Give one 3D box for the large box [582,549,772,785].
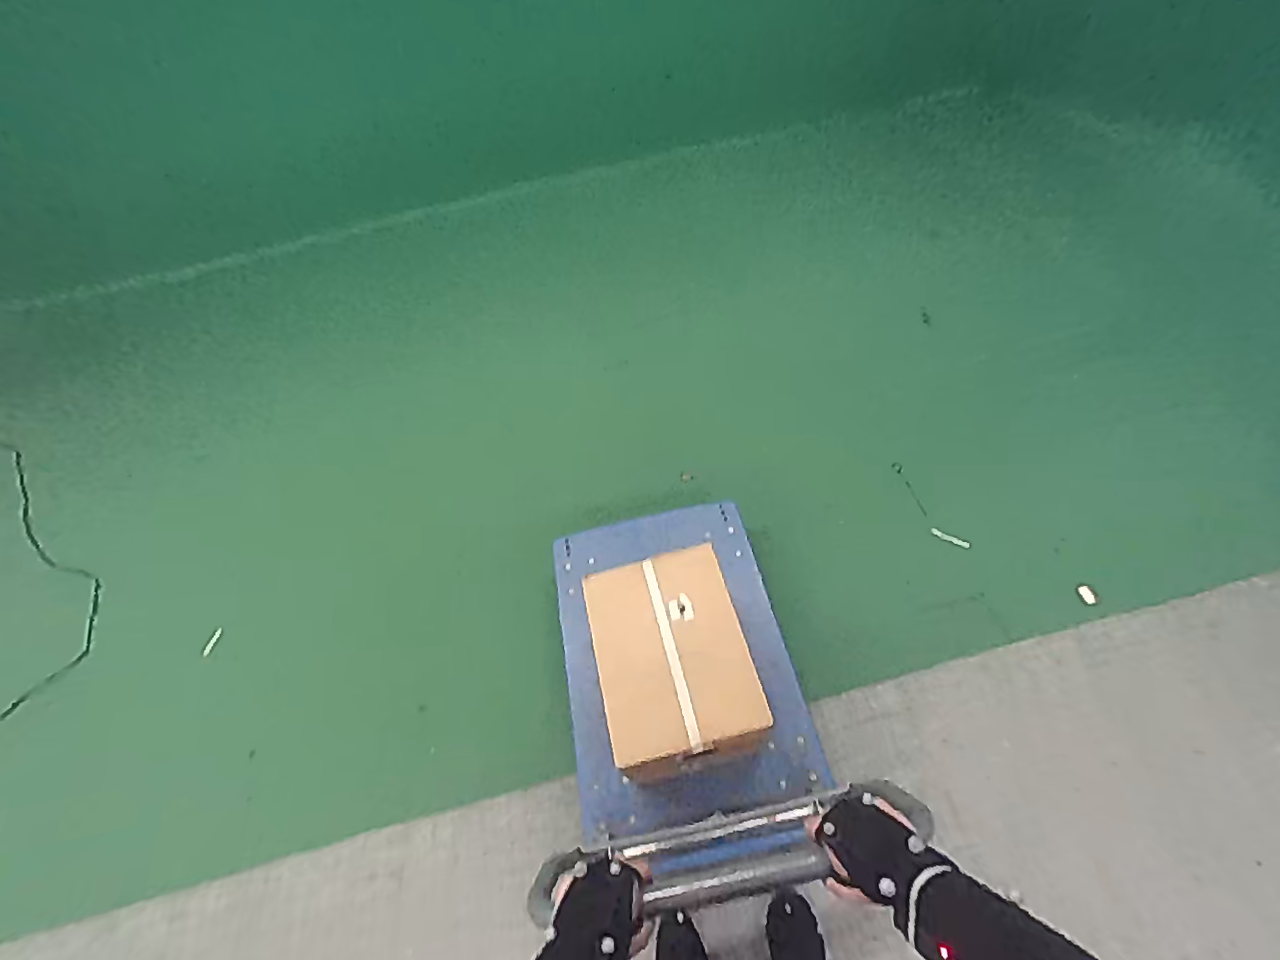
[{"bbox_3d":[0.081,0.437,1.259,0.320,0.320,0.408,-15,55,-2],"label":"large box"}]
